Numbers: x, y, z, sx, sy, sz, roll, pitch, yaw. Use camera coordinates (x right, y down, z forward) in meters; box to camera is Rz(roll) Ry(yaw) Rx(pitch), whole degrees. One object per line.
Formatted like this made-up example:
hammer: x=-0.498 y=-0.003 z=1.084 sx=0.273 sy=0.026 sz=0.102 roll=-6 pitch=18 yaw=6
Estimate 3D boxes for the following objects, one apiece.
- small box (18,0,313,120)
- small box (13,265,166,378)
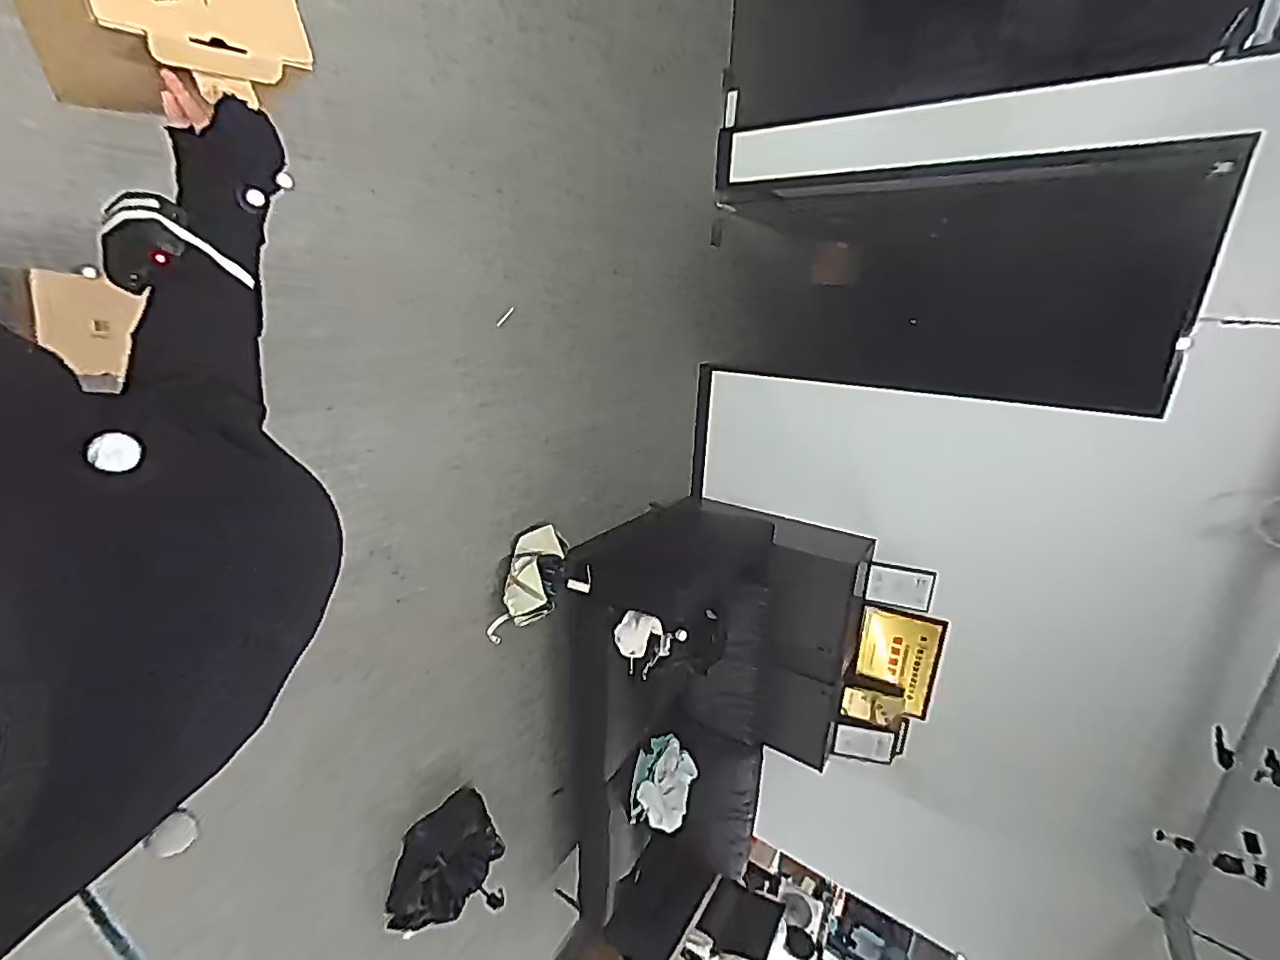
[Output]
small box: x=-0.444 y=-0.461 z=0.487 sx=0.168 sy=0.176 sz=0.179 roll=-33 pitch=119 yaw=-48
small box: x=-1.014 y=-0.290 z=1.001 sx=0.168 sy=0.176 sz=0.179 roll=-12 pitch=112 yaw=-56
